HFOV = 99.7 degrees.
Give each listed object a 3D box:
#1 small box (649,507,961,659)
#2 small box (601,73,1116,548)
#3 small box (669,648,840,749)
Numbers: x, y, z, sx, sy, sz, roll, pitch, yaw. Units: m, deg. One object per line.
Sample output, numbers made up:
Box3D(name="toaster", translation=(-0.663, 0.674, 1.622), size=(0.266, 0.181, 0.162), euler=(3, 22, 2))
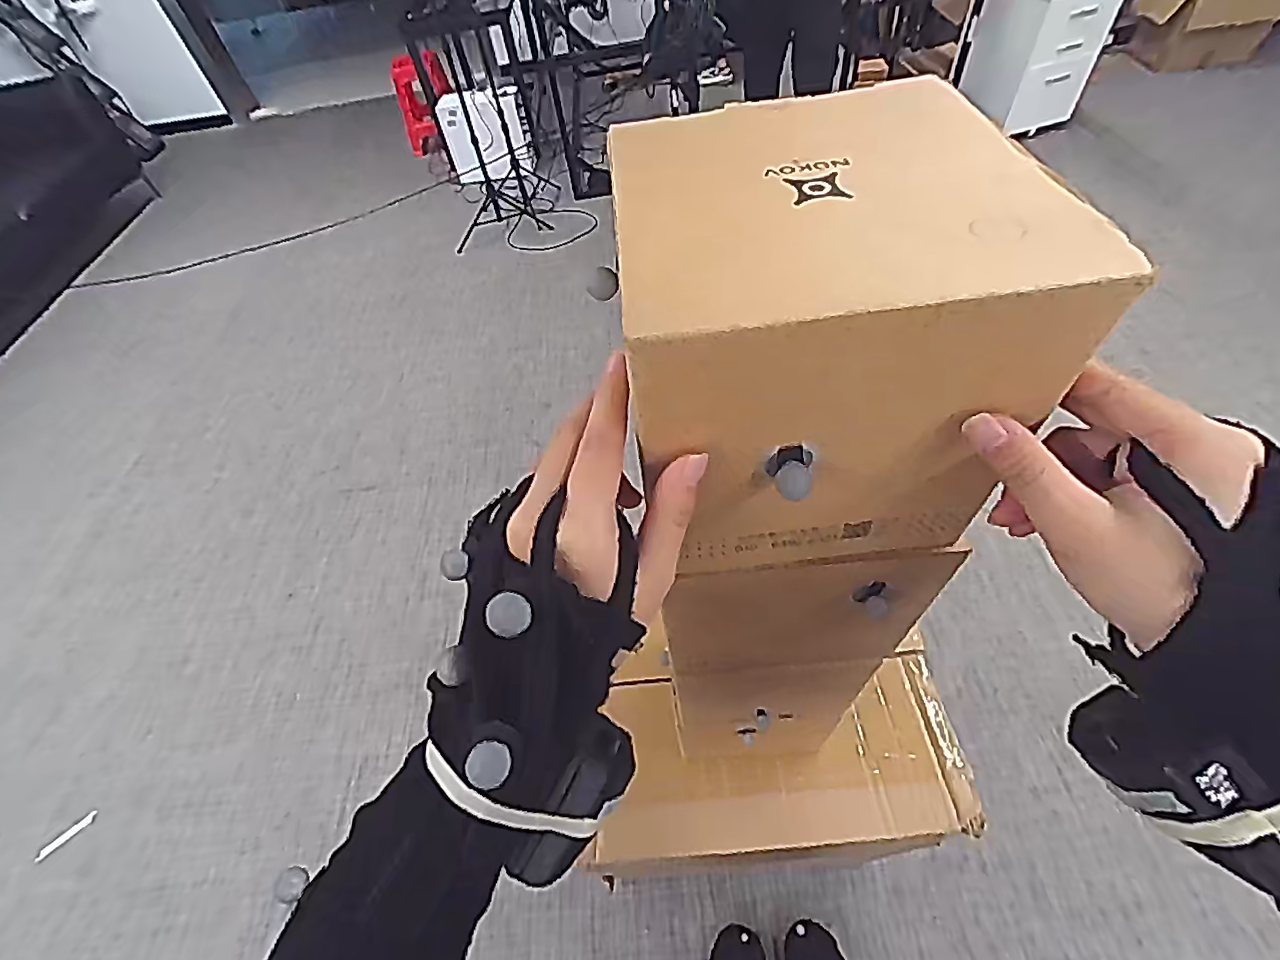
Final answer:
Box3D(name="small box", translation=(0.098, 0.025, 0.413), size=(0.179, 0.176, 0.168), euler=(-6, 52, 4))
Box3D(name="small box", translation=(0.076, -0.076, 0.288), size=(0.168, 0.176, 0.179), euler=(-8, 52, 2))
Box3D(name="small box", translation=(0.128, 0.226, 0.672), size=(0.179, 0.176, 0.168), euler=(-5, 52, 3))
